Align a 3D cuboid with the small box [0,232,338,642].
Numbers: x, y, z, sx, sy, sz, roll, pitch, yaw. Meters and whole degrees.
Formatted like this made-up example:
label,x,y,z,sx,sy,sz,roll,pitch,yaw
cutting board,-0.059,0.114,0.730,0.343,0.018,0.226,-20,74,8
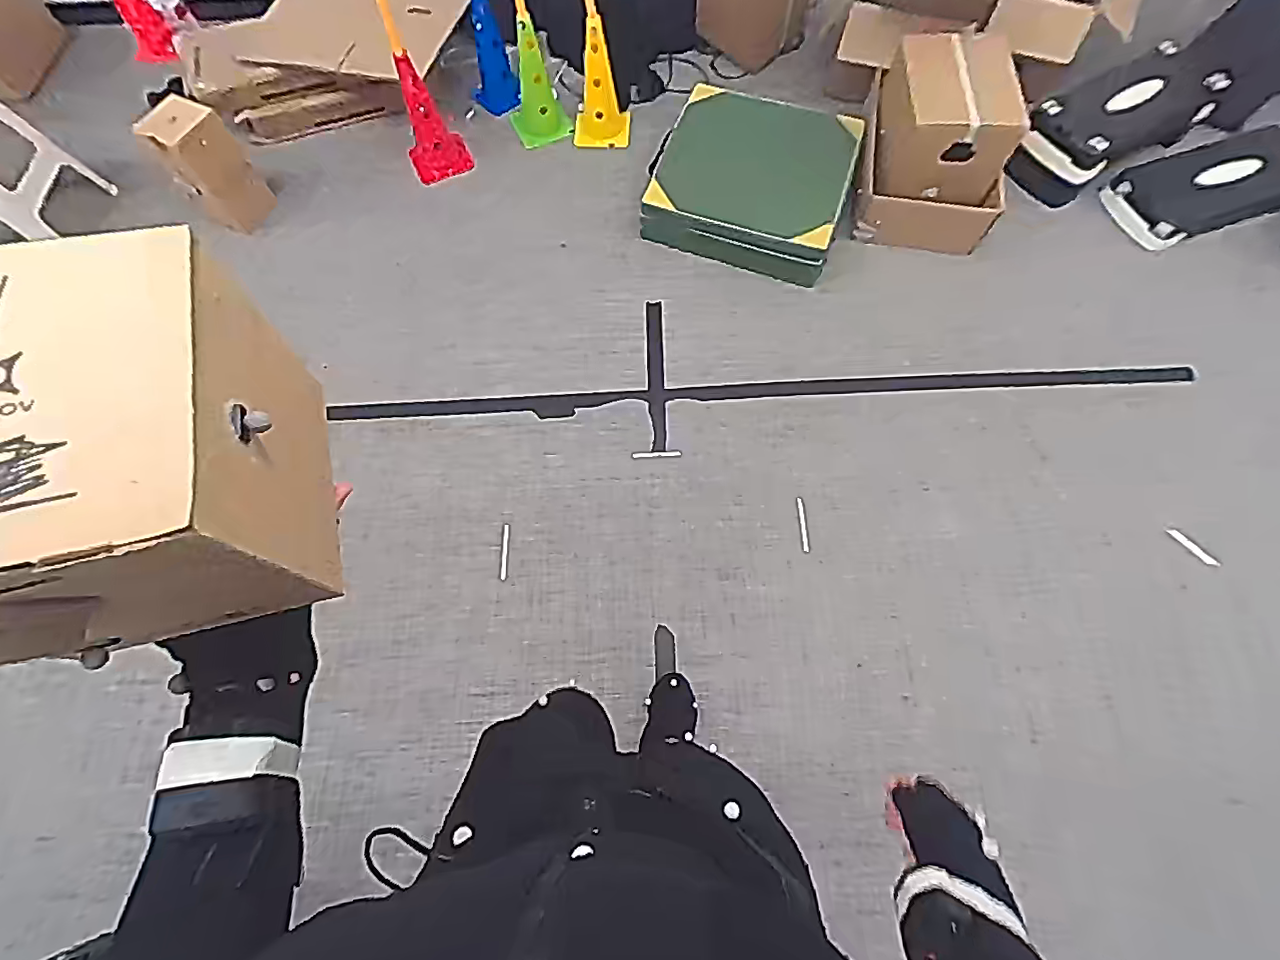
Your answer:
label,x,y,z,sx,sy,sz,roll,pitch,yaw
small box,-0.302,-0.009,0.322,0.168,0.176,0.179,-13,70,-11
